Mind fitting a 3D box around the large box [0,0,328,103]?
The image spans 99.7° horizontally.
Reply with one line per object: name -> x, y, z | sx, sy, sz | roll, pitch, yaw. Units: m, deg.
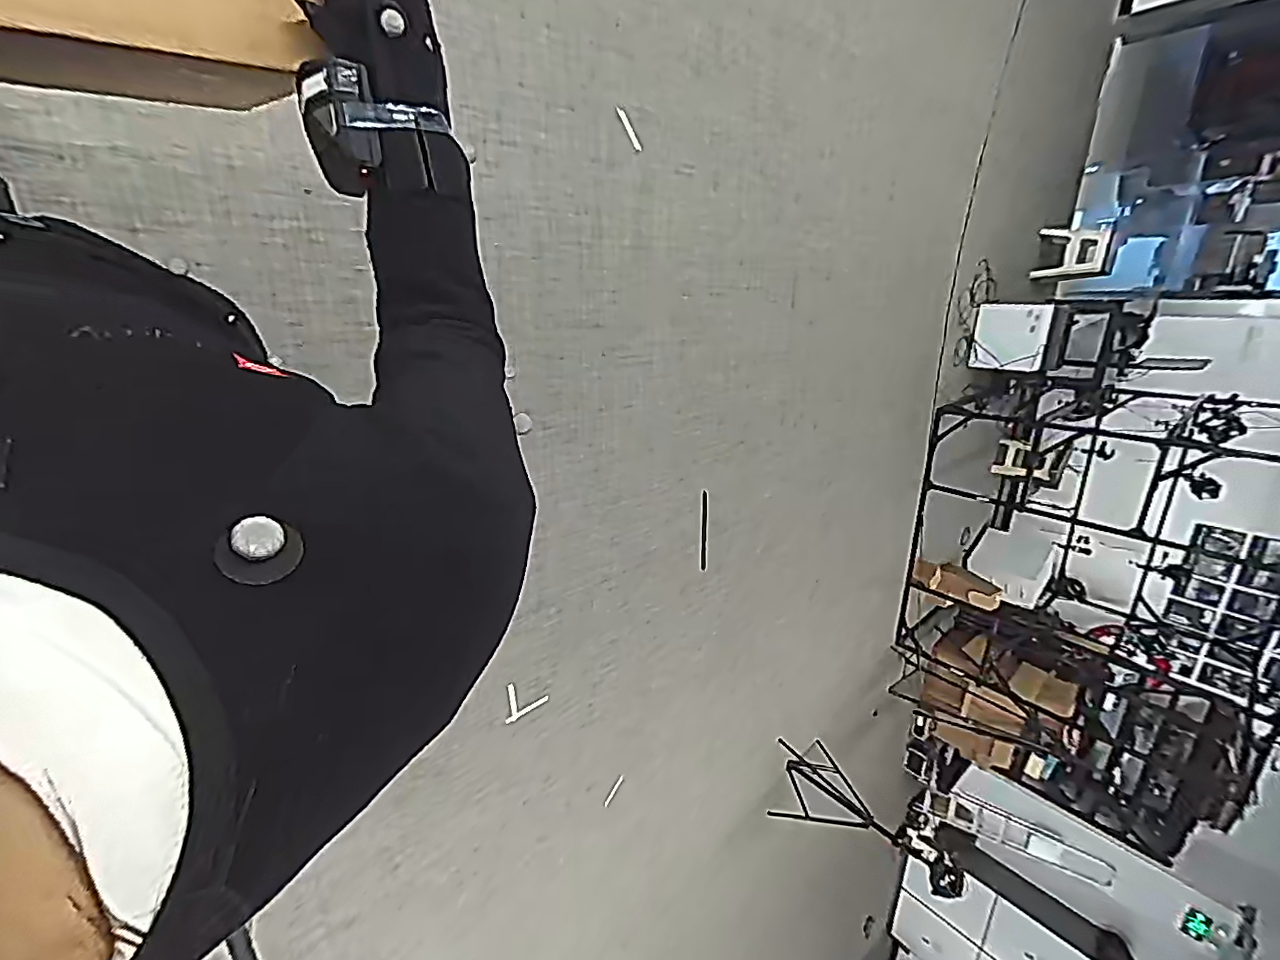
large box -> -0.449, -0.404, 0.266 | 0.408, 0.320, 0.320 | -21, 127, -38
